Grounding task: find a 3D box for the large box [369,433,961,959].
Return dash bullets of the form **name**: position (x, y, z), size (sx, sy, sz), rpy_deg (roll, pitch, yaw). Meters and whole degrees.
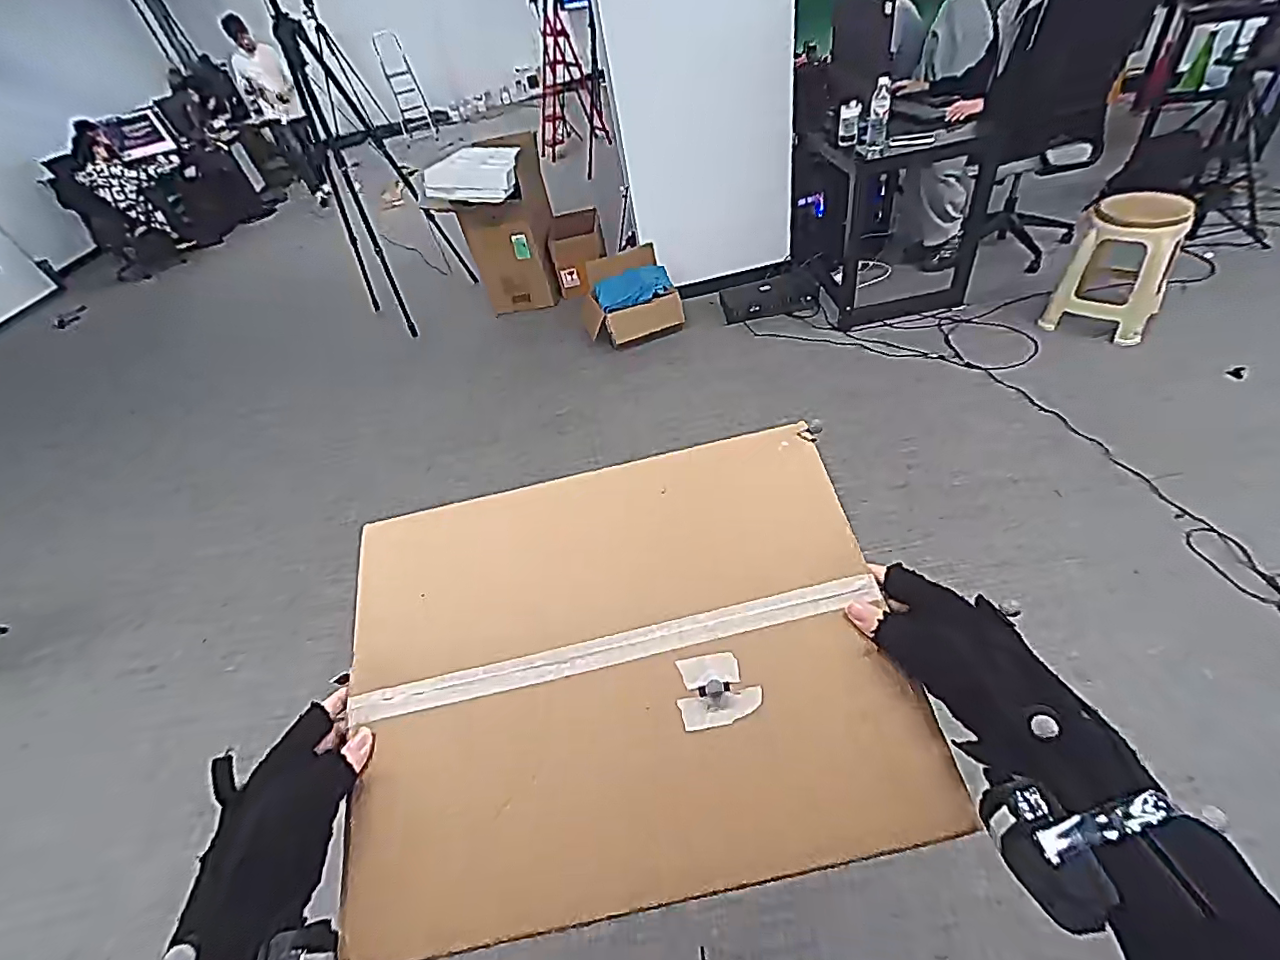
- **large box**: position (0.002, 0.204, 0.548), size (0.408, 0.320, 0.320), rpy_deg (-14, 61, -1)
